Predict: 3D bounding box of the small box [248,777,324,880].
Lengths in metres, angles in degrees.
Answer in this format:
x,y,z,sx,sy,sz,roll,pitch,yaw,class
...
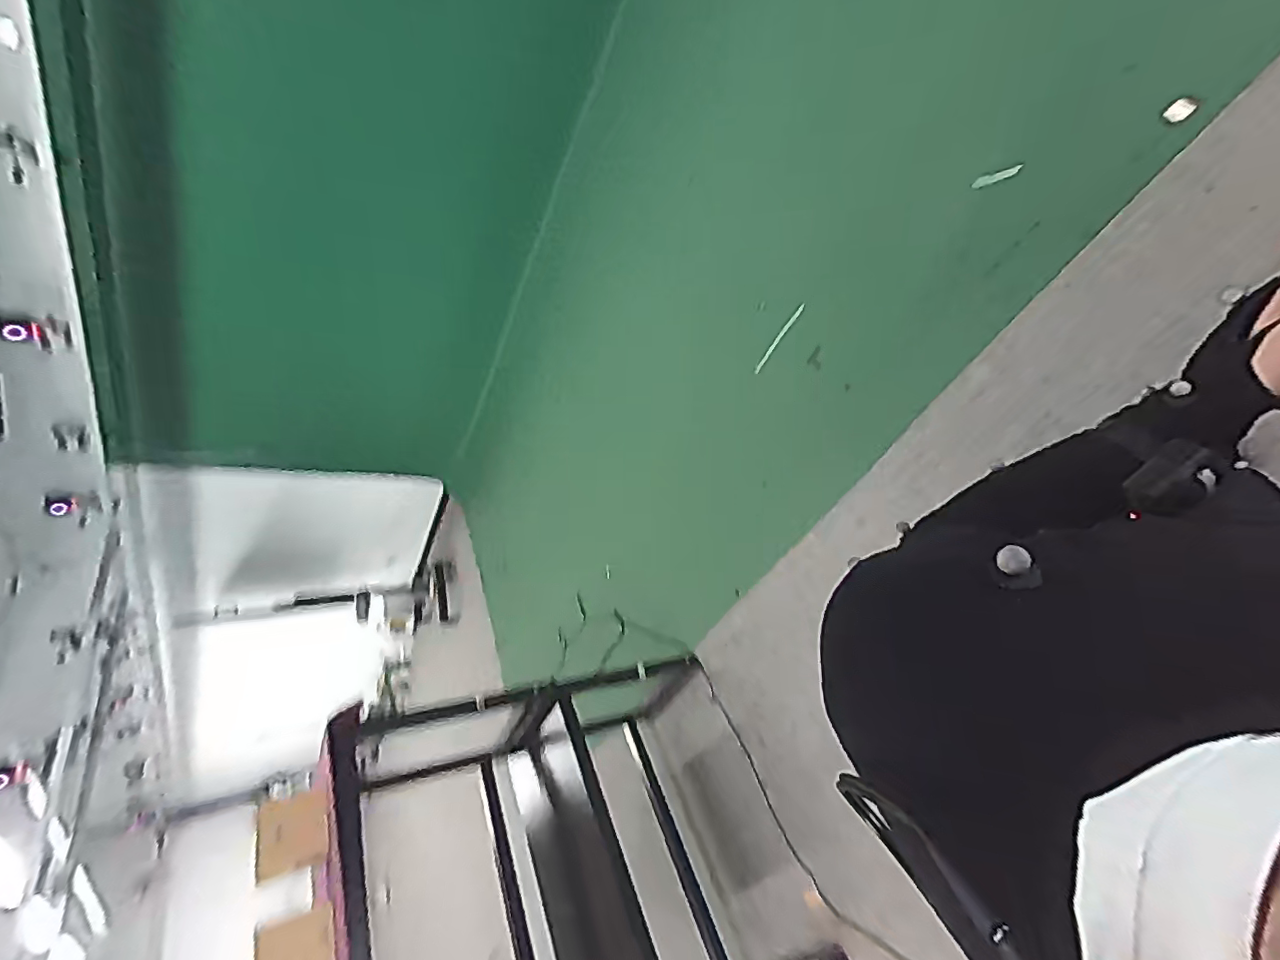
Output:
x,y,z,sx,sy,sz,roll,pitch,yaw,class
-0.985,0.965,1.506,0.168,0.176,0.179,-58,45,36,small box
